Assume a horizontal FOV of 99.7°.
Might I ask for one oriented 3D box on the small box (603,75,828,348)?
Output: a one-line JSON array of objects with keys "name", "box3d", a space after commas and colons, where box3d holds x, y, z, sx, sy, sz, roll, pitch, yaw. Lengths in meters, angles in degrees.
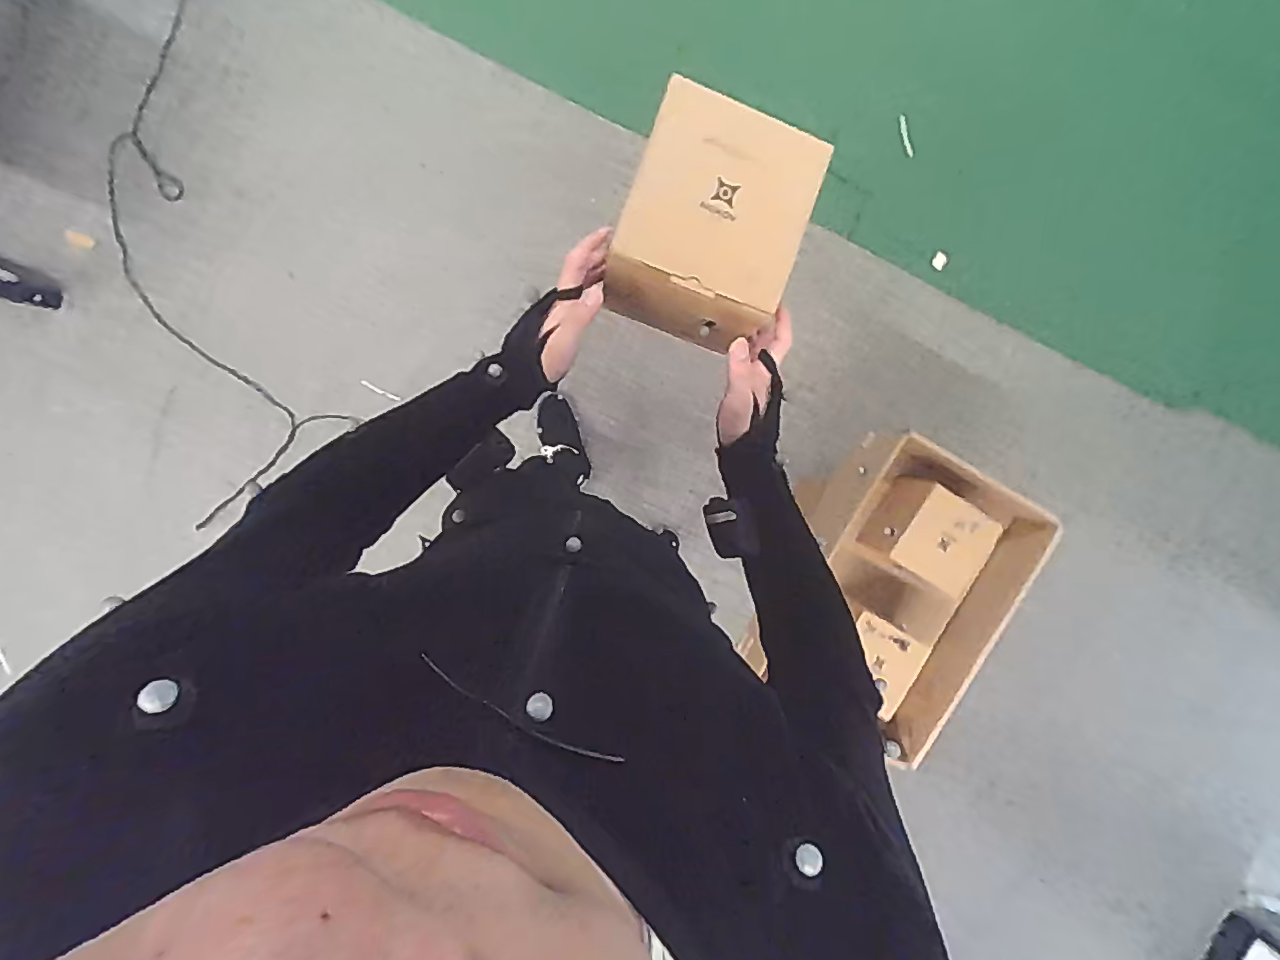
[{"name": "small box", "box3d": [0.064, -0.260, 0.574, 0.168, 0.176, 0.179, 20, 88, -7]}]
